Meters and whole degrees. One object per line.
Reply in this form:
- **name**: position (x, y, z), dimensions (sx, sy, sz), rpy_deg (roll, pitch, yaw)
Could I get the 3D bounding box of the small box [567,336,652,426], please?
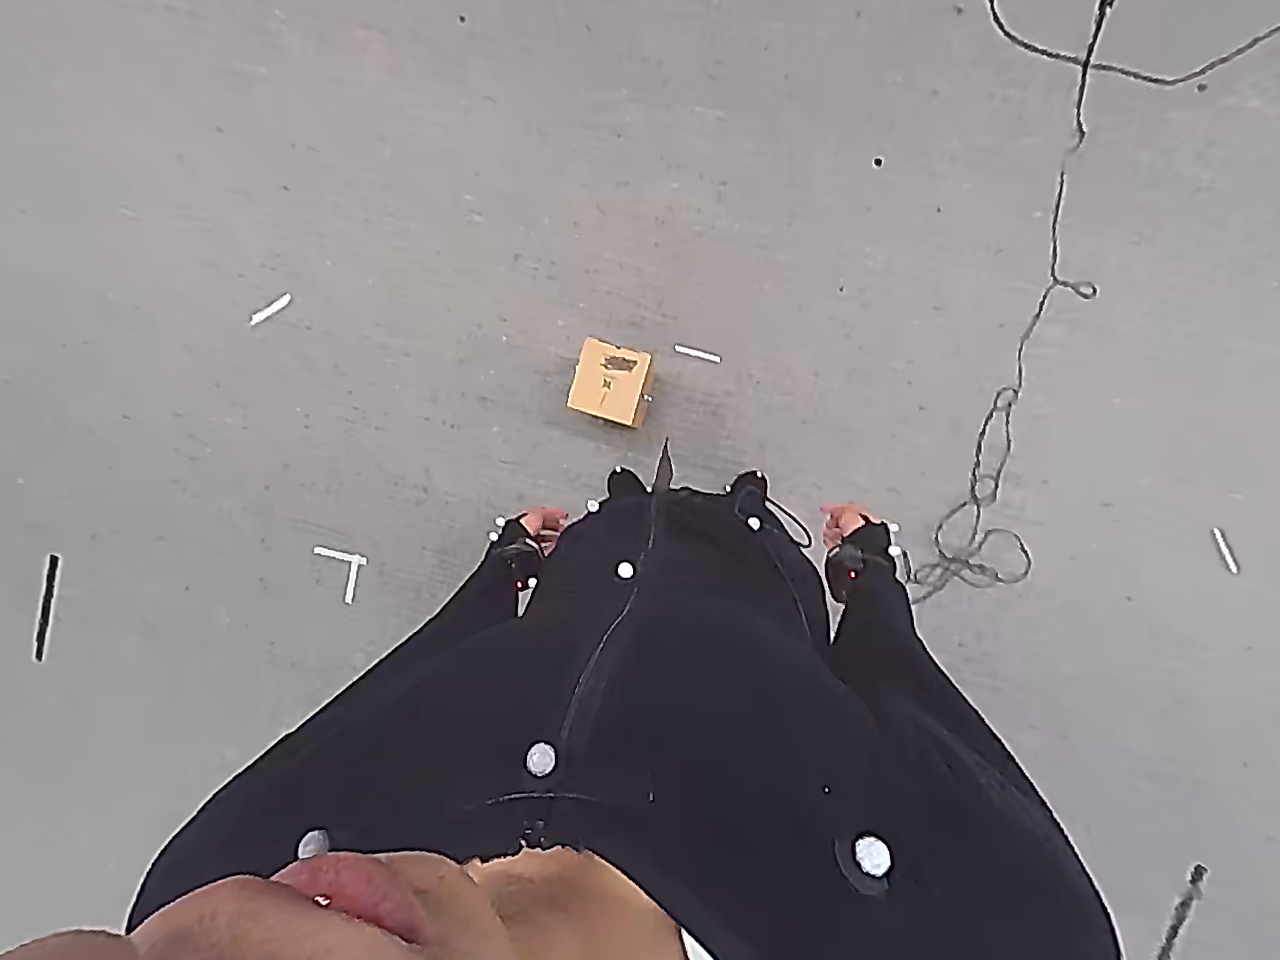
- **small box**: position (-0.071, -0.244, 1.371), dimensions (0.168, 0.176, 0.179), rpy_deg (17, 95, 3)
